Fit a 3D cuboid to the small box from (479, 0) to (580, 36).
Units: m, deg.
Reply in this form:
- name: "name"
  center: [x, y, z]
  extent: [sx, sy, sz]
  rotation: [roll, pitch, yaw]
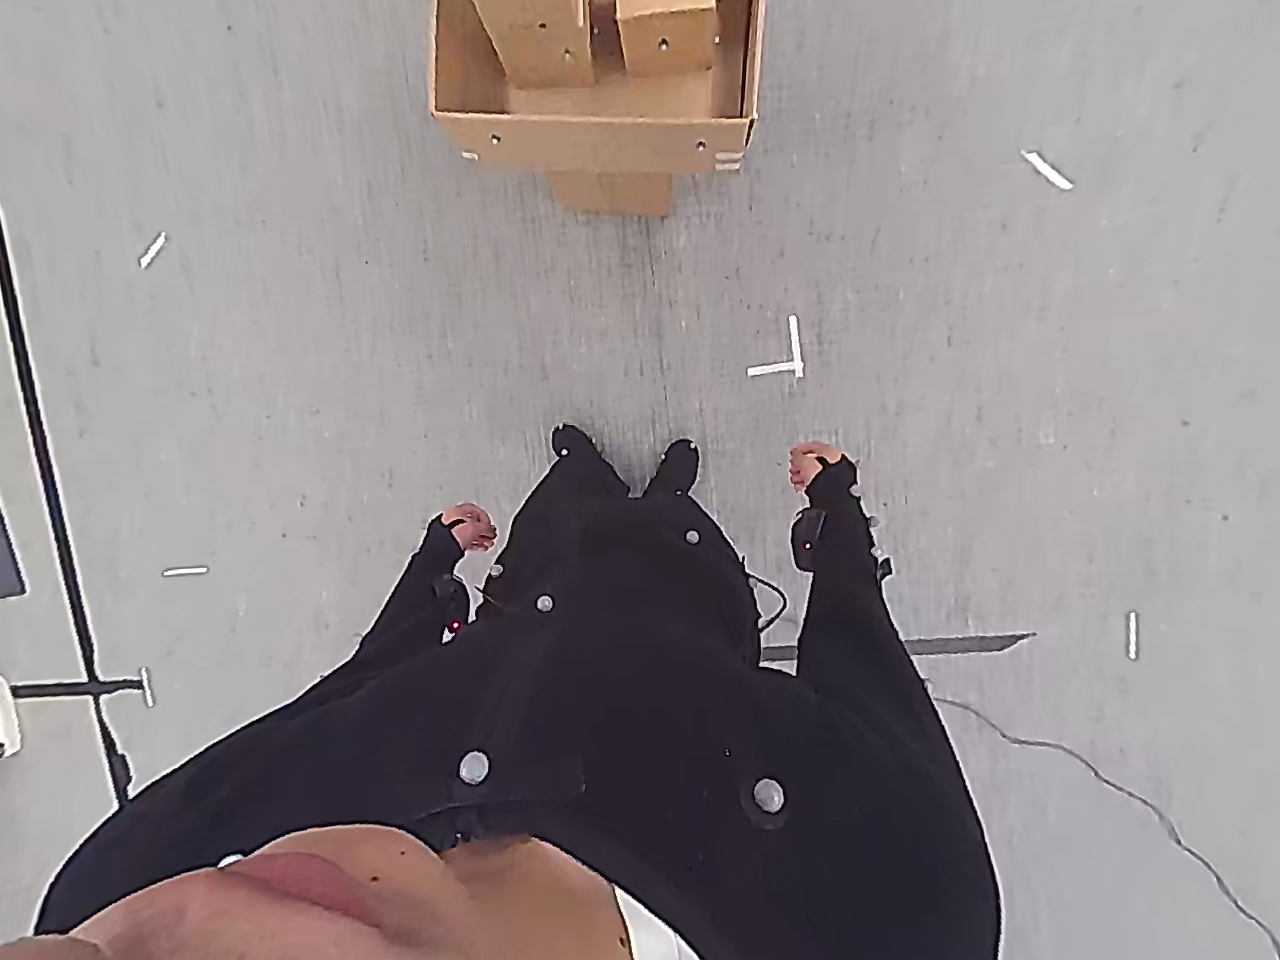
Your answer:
- name: "small box"
  center: [-0.191, -0.873, 0.876]
  extent: [0.168, 0.176, 0.179]
  rotation: [1, 95, 3]
